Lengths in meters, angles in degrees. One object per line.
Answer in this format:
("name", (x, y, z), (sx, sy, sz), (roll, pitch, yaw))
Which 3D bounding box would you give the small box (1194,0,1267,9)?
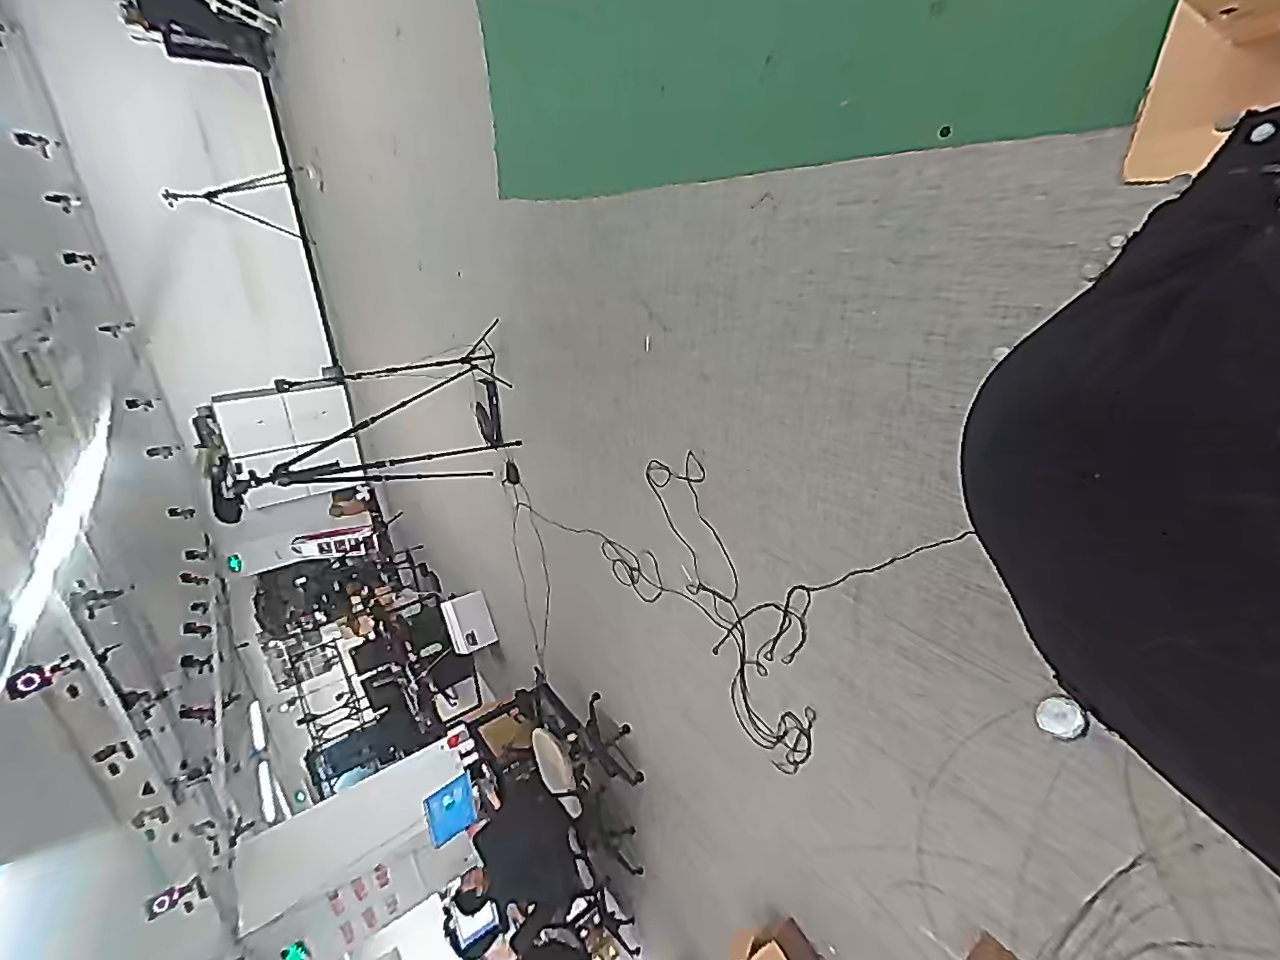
("small box", (0.850, -0.739, 0.689), (0.168, 0.176, 0.179), (31, 128, 46))

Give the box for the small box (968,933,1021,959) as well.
("small box", (1.130, 1.607, 1.708), (0.168, 0.176, 0.179), (24, 123, 47))

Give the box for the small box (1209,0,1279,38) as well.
("small box", (0.983, -0.778, 0.778), (0.168, 0.176, 0.179), (30, 128, 48))
